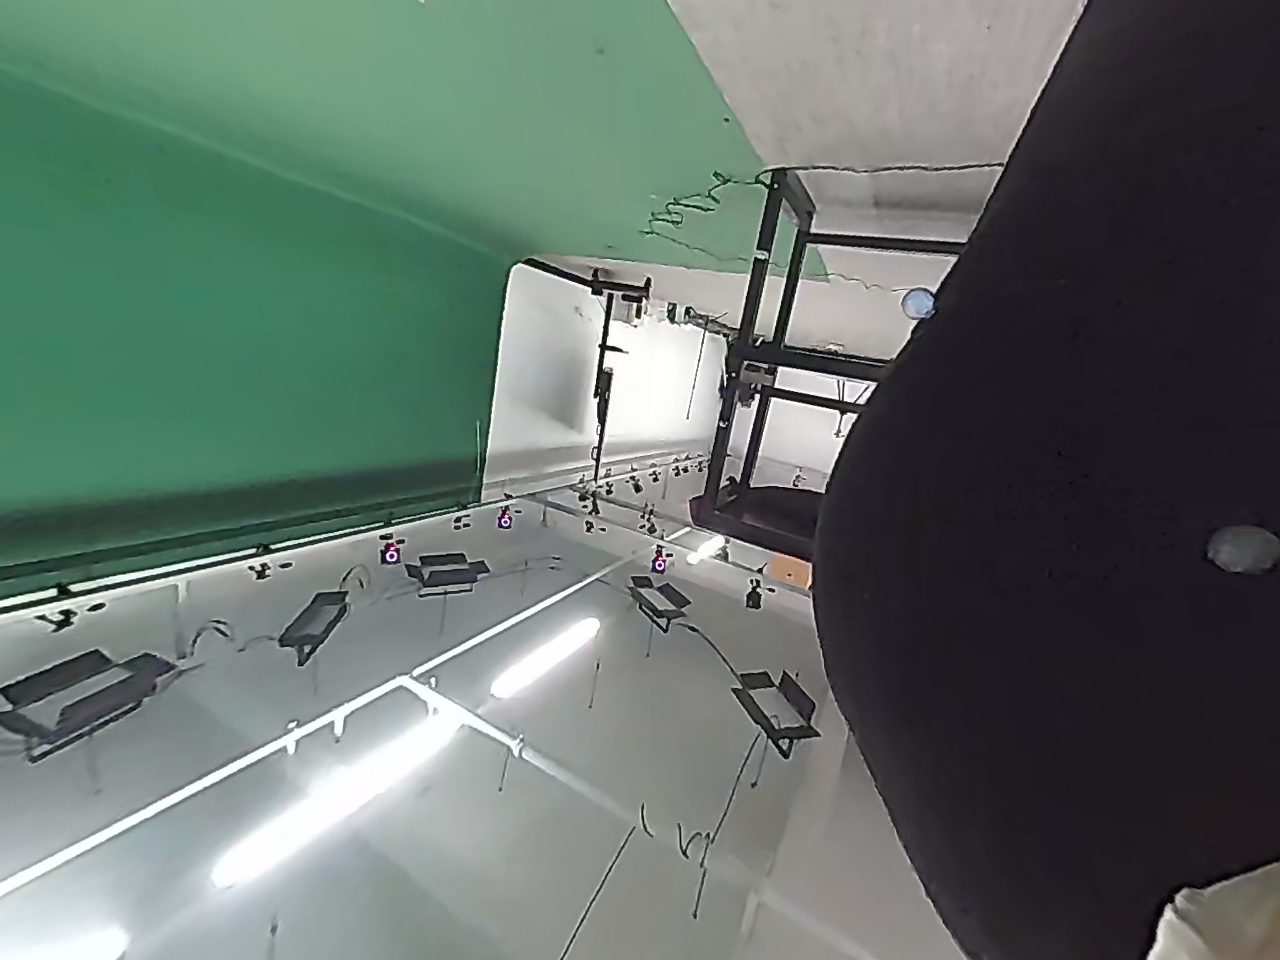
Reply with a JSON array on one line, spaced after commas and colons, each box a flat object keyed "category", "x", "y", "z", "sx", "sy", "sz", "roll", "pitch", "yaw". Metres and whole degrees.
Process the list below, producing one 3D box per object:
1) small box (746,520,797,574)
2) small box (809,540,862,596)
[{"category": "small box", "x": 0.592, "y": 0.293, "z": 2.416, "sx": 0.179, "sy": 0.176, "sz": 0.168, "roll": 17, "pitch": -164, "yaw": 22}, {"category": "small box", "x": 0.838, "y": 0.369, "z": 2.318, "sx": 0.179, "sy": 0.176, "sz": 0.168, "roll": 16, "pitch": -164, "yaw": 19}]
